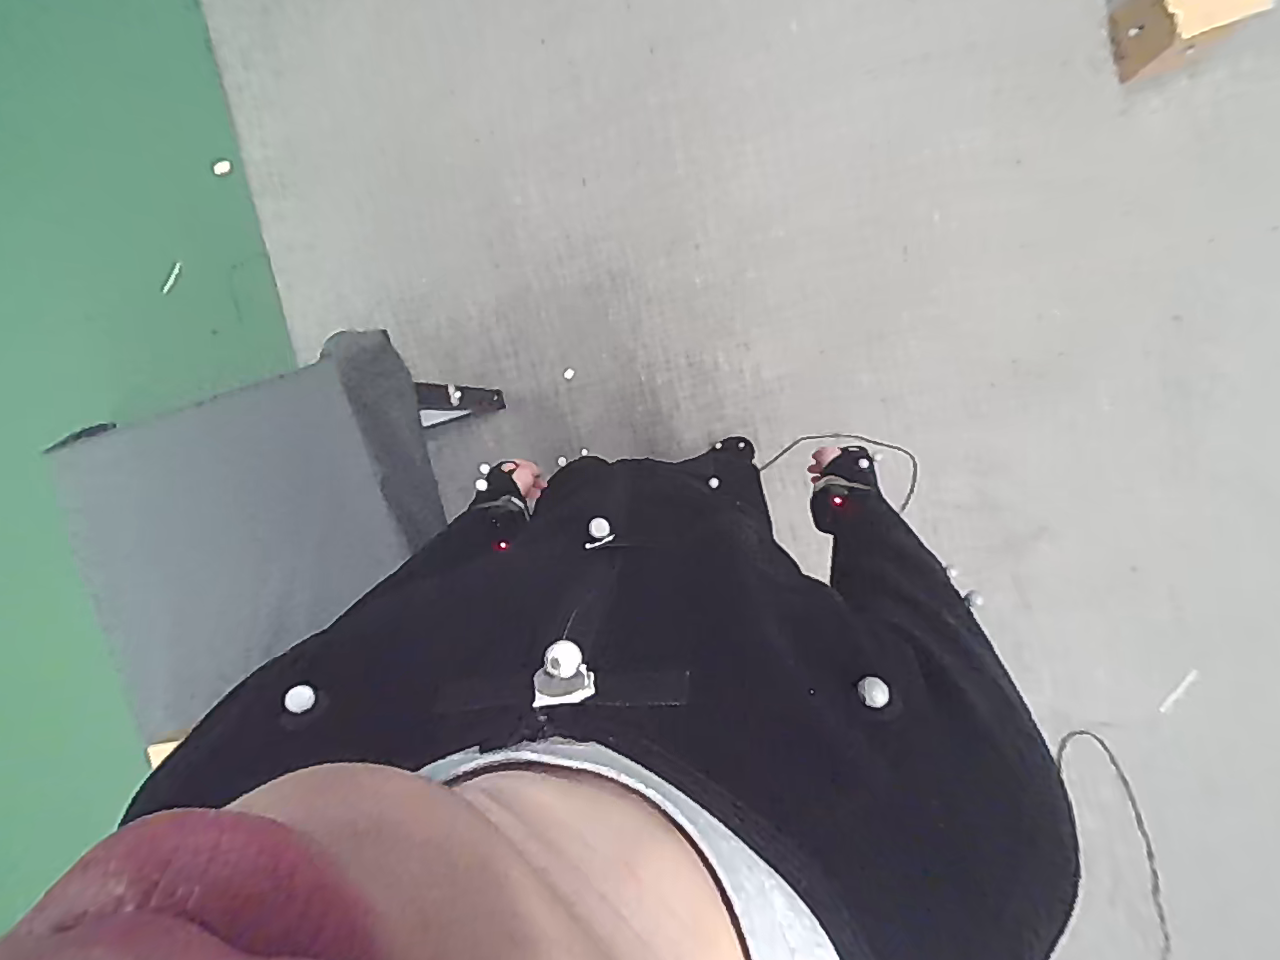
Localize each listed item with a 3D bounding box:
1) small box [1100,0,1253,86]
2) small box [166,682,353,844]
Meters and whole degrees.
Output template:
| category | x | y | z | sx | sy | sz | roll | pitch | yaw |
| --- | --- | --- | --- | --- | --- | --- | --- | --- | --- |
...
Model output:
| category | x | y | z | sx | sy | sz | roll | pitch | yaw |
| --- | --- | --- | --- | --- | --- | --- | --- | --- | --- |
| small box | 1.178 | -1.034 | 1.207 | 0.179 | 0.176 | 0.168 | -16 | 94 | 10 |
| small box | -0.608 | 0.454 | 0.891 | 0.179 | 0.176 | 0.168 | -13 | 94 | 10 |
